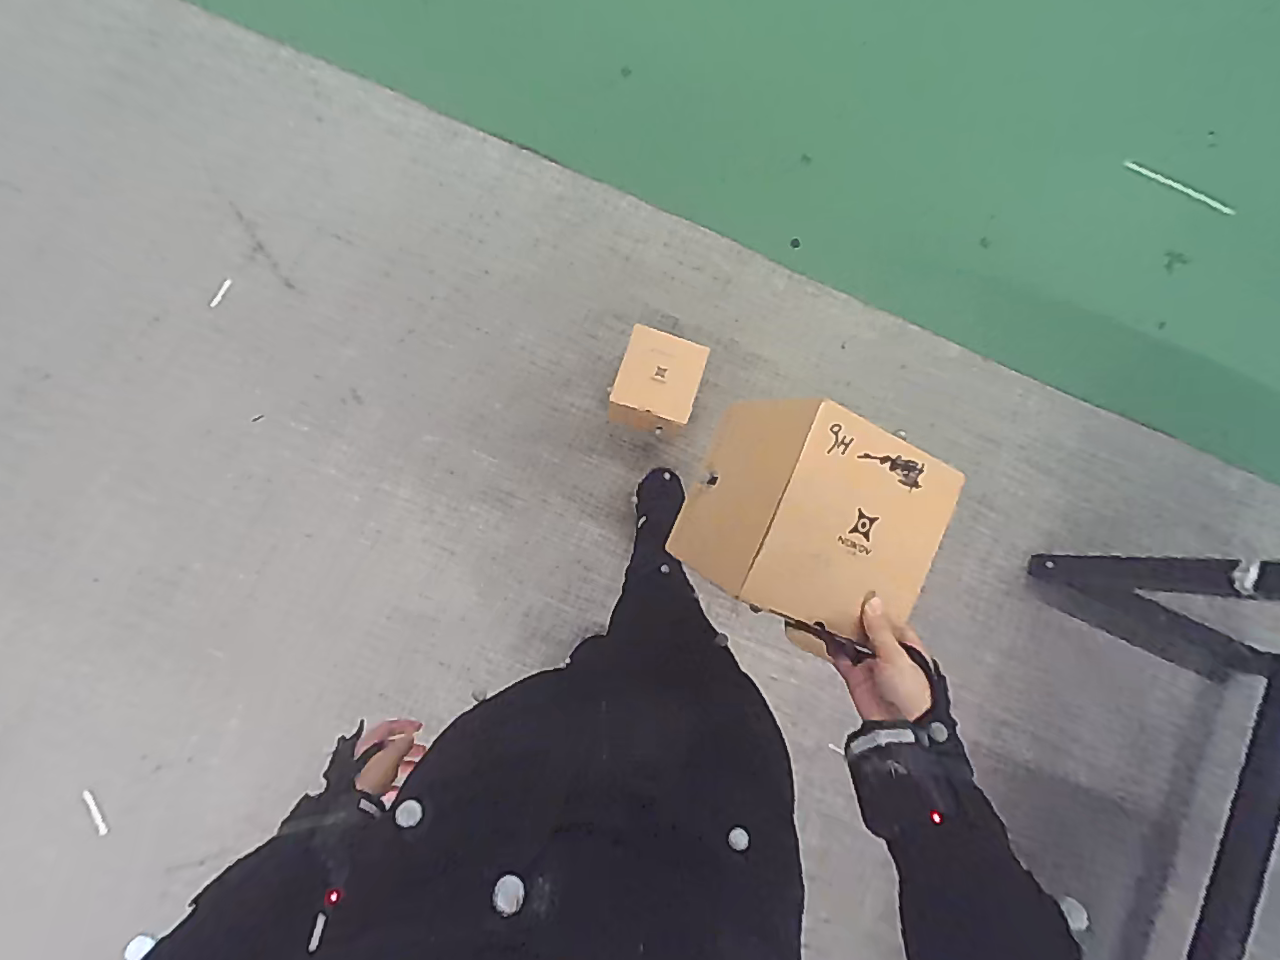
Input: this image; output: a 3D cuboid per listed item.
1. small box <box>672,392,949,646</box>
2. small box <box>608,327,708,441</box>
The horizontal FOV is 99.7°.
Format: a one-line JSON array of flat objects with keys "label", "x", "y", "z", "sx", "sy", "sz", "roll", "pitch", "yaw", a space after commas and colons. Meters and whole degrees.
[{"label": "small box", "x": 0.149, "y": 0.029, "z": 0.531, "sx": 0.168, "sy": 0.176, "sz": 0.179, "roll": 23, "pitch": 89, "yaw": -18}, {"label": "small box", "x": 0.033, "y": -0.198, "z": 1.175, "sx": 0.168, "sy": 0.176, "sz": 0.179, "roll": 18, "pitch": 81, "yaw": -3}]
